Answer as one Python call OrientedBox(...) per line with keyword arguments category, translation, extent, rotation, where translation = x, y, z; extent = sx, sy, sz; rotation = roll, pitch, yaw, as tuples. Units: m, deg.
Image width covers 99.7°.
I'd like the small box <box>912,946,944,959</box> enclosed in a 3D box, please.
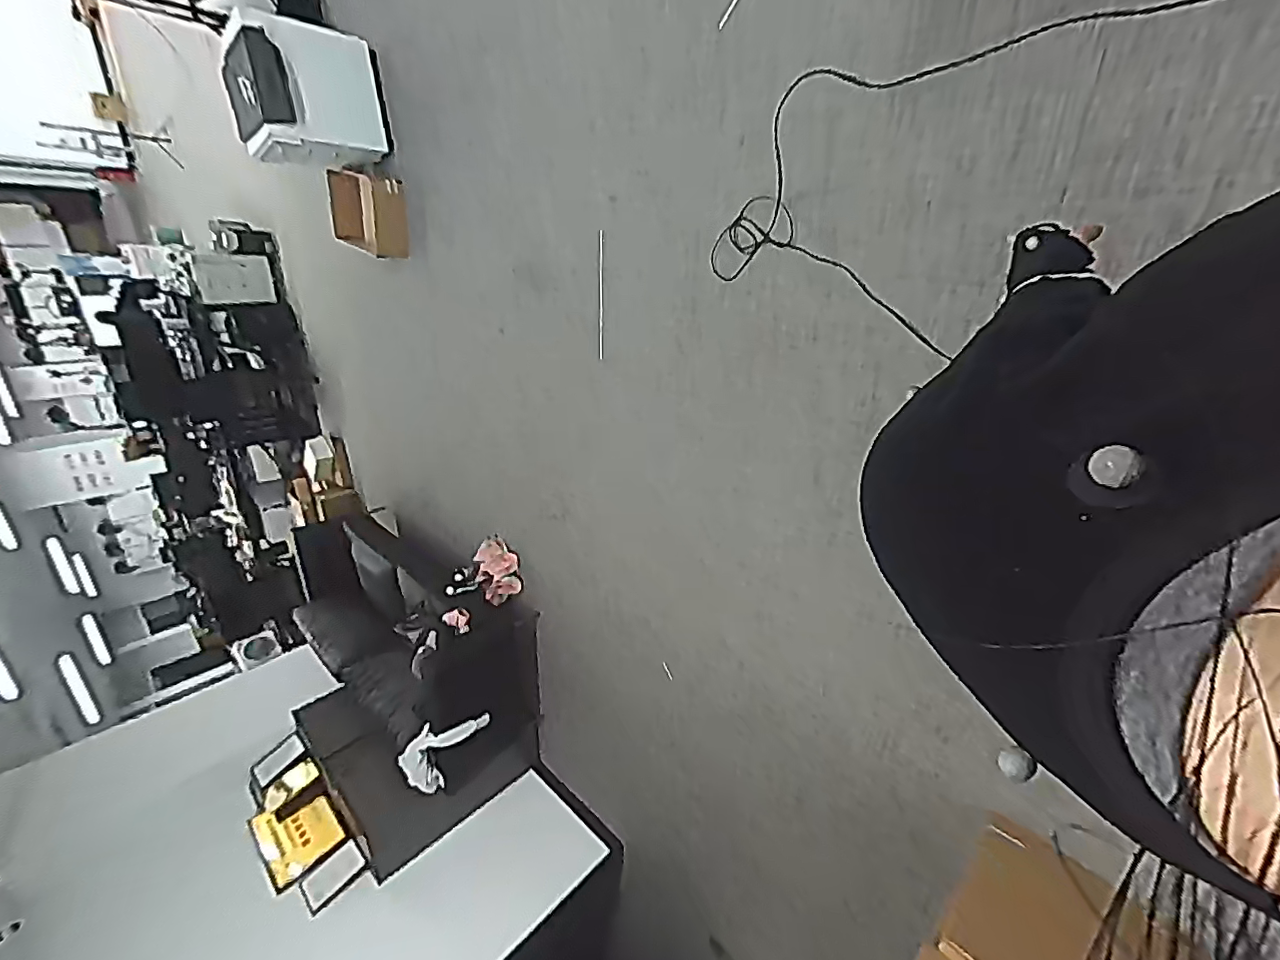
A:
OrientedBox(category="small box", translation=(0.683, 1.238, 1.231), extent=(0.179, 0.176, 0.168), rotation=(26, 120, 36))
